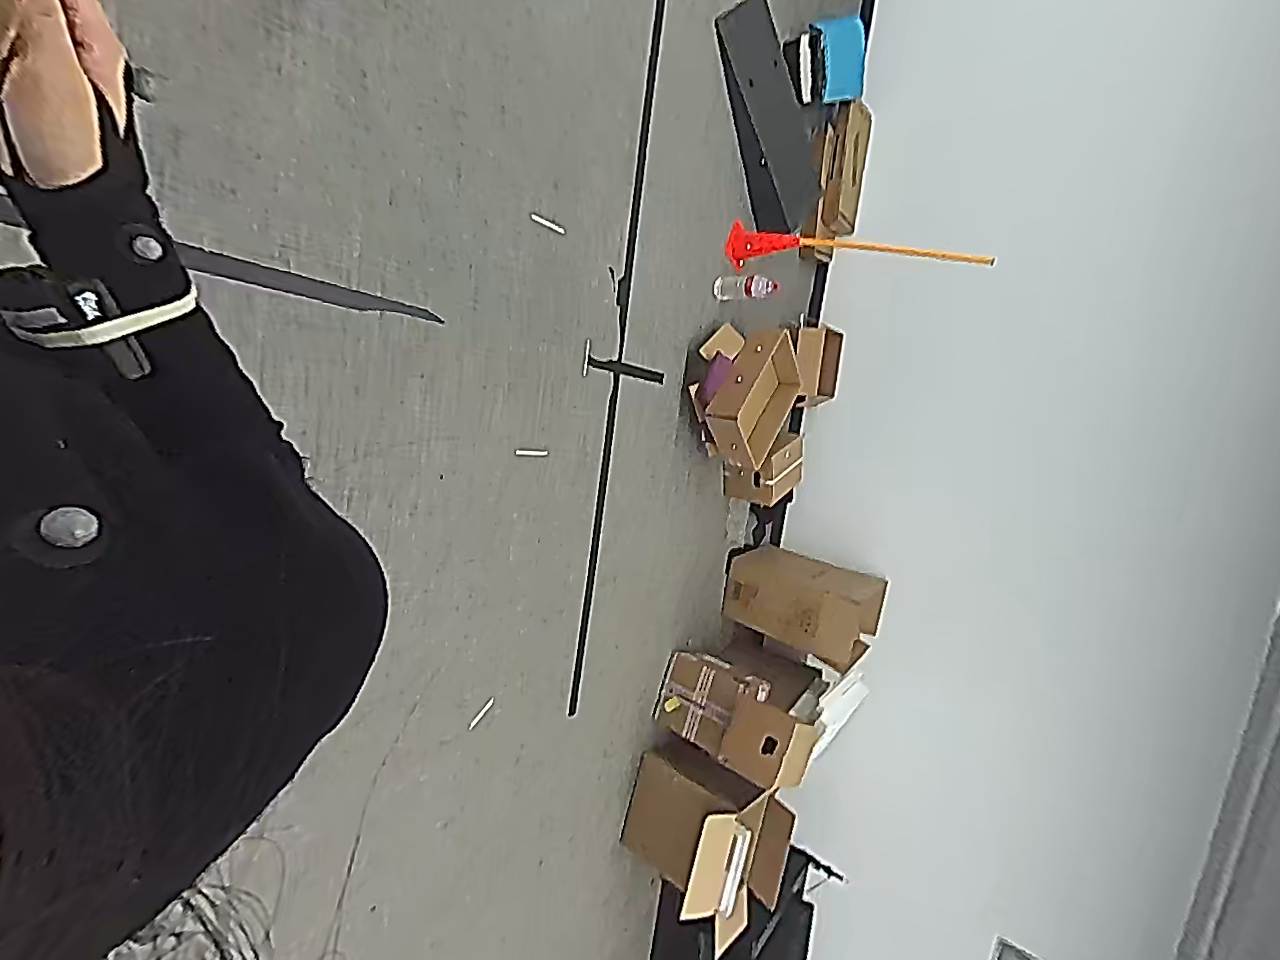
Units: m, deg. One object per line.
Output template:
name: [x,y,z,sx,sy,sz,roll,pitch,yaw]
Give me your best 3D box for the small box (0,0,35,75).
small box: [-0.313,-0.255,0.155,0.168,0.176,0.179,-12,109,-52]
